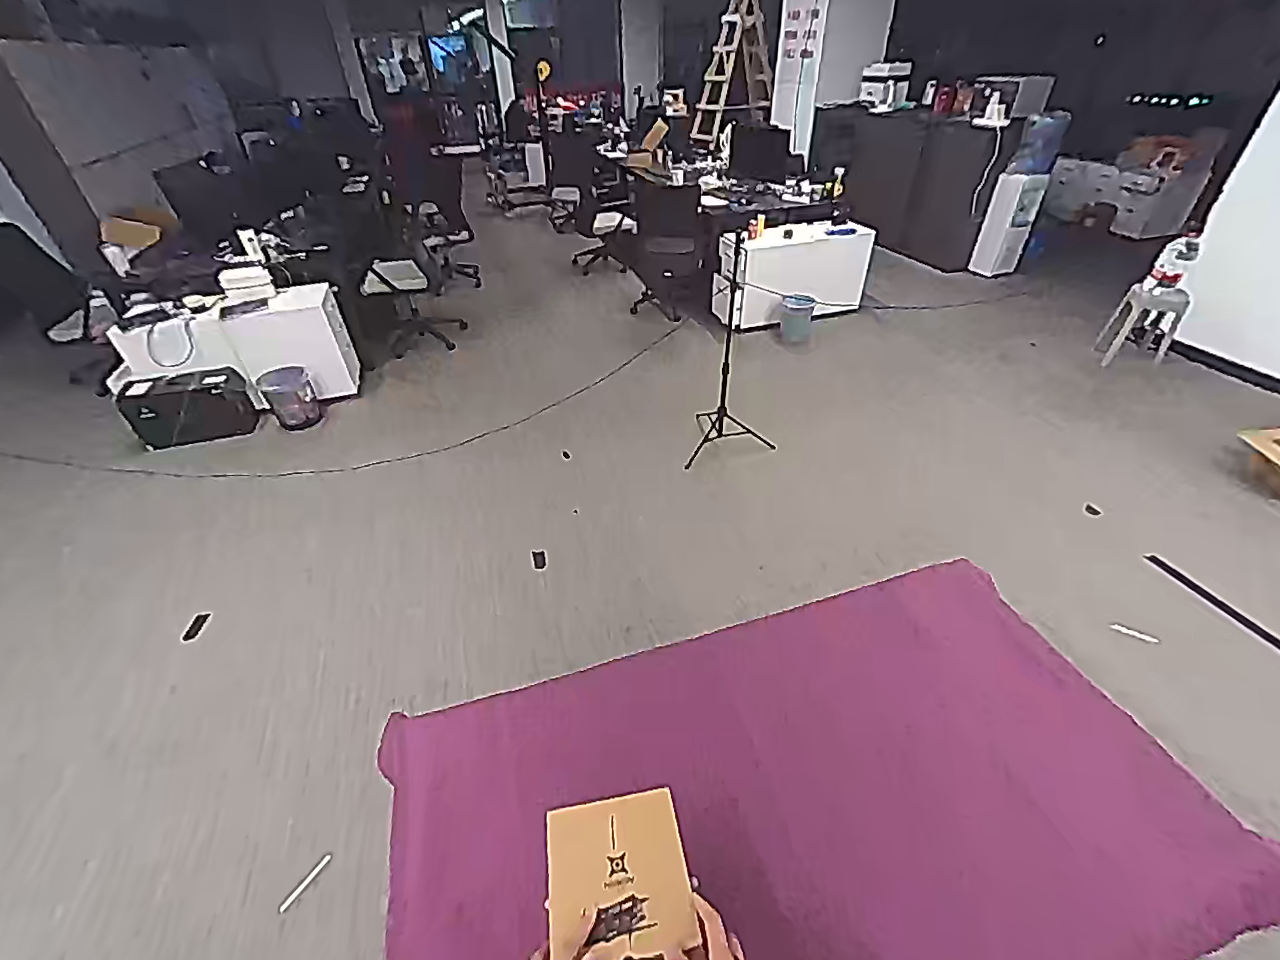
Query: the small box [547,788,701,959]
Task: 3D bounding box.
[{"bbox_3d":[-0.023,0.531,0.686,0.168,0.176,0.179,-8,38,-7],"label":"small box"}]
